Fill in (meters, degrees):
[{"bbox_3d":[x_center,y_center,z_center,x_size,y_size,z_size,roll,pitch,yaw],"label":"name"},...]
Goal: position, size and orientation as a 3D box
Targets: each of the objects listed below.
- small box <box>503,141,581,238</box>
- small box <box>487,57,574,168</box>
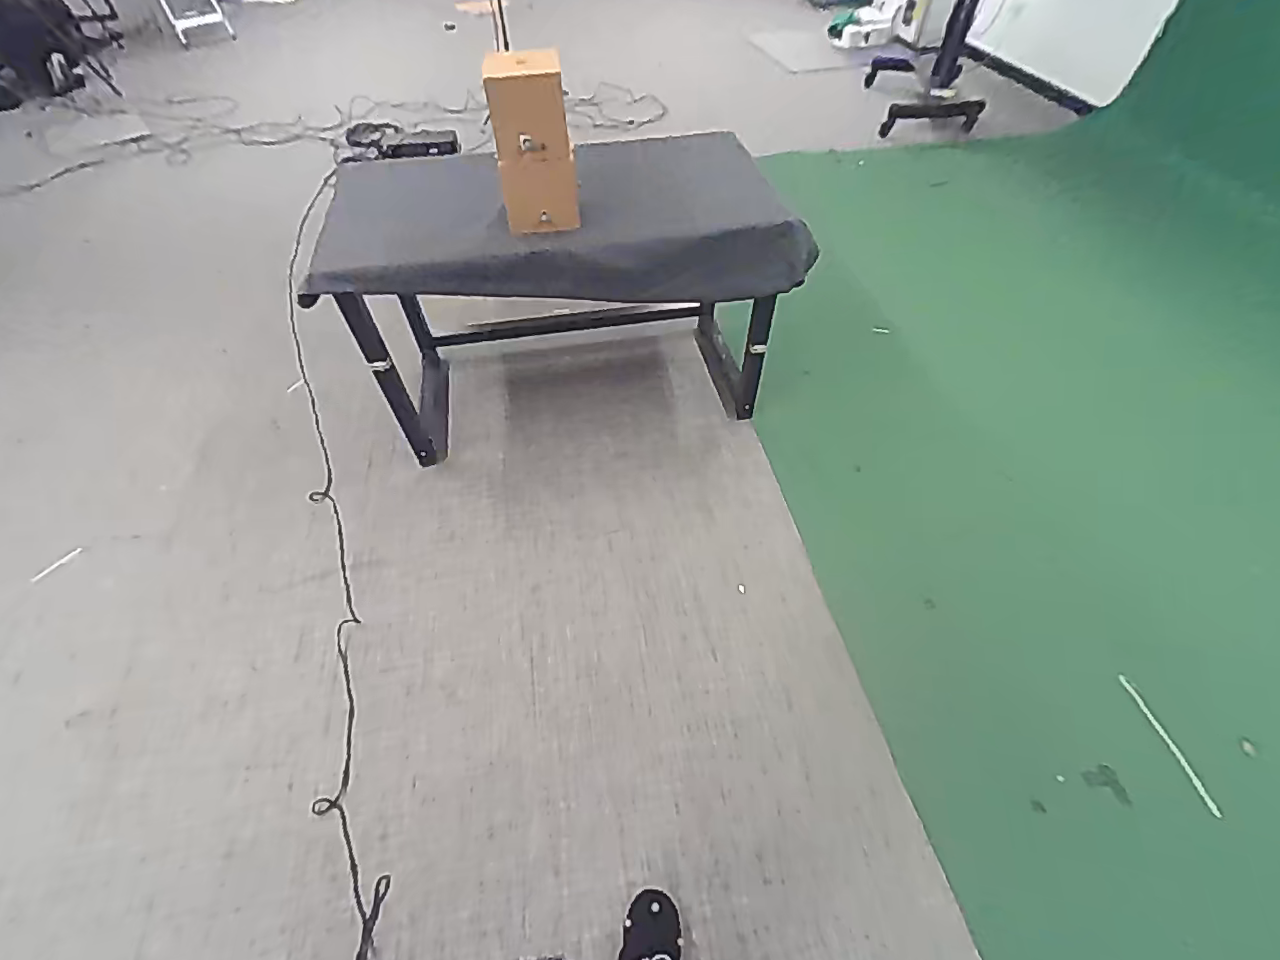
[{"bbox_3d":[-0.241,-0.731,1.361,0.179,0.176,0.168,-7,51,-5],"label":"small box"},{"bbox_3d":[-0.247,-0.840,1.241,0.168,0.176,0.179,-9,53,-4],"label":"small box"}]
